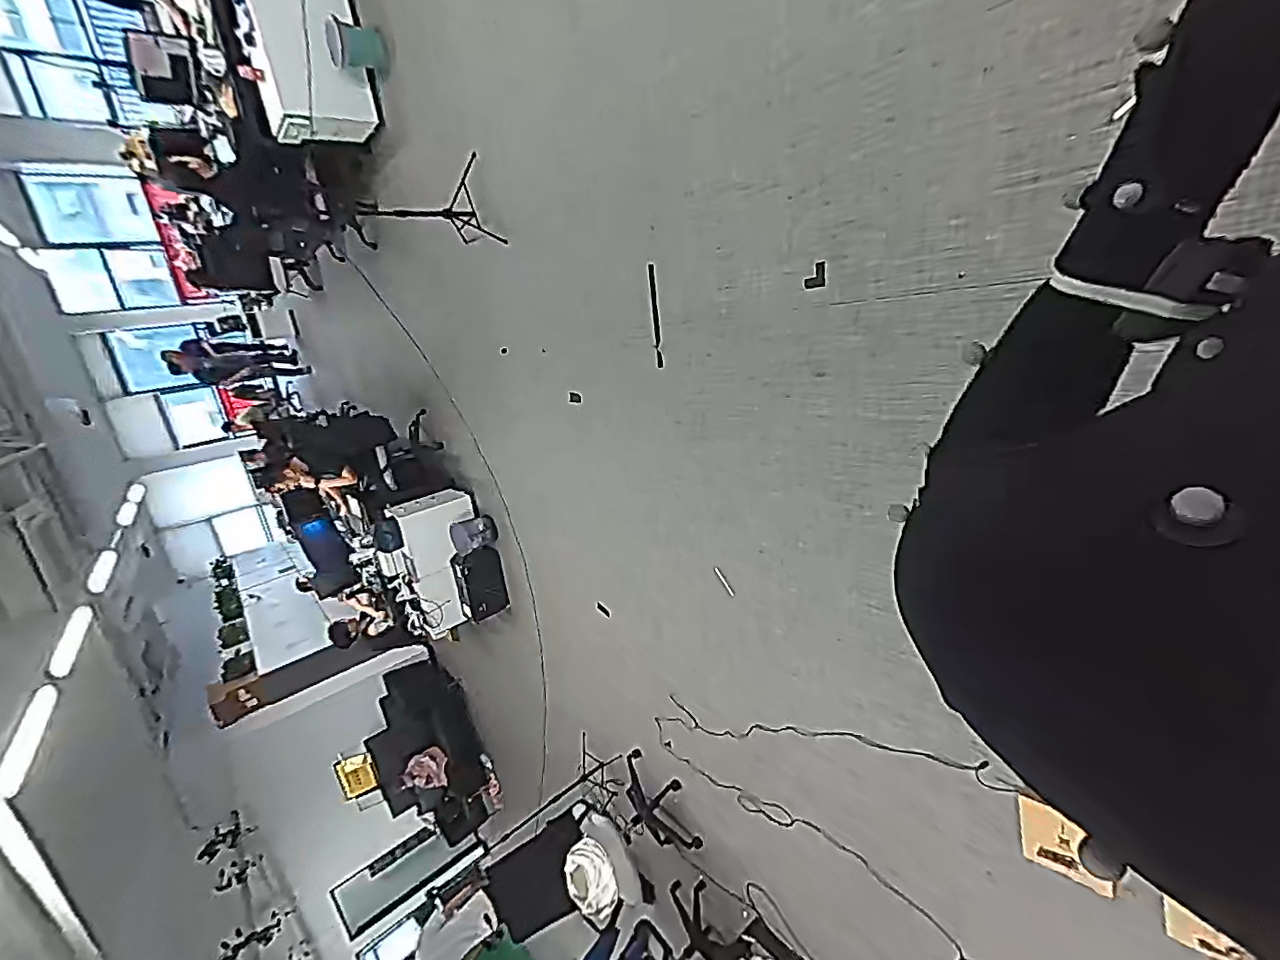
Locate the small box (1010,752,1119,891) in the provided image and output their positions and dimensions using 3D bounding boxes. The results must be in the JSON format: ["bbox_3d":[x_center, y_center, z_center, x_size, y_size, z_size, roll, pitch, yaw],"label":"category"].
[{"bbox_3d":[0.988,0.780,1.254,0.168,0.176,0.179,2,108,51],"label":"small box"}]
